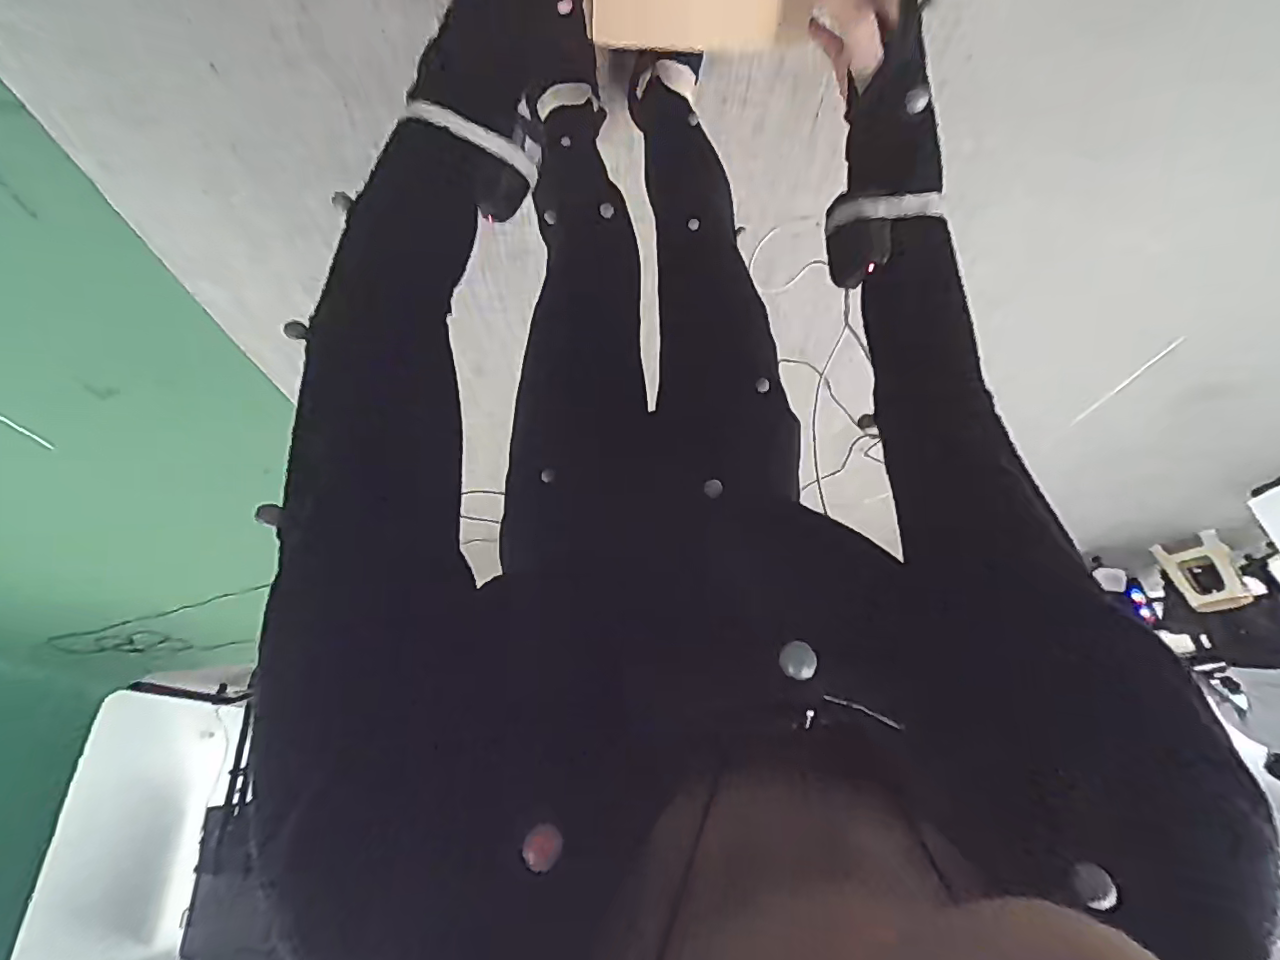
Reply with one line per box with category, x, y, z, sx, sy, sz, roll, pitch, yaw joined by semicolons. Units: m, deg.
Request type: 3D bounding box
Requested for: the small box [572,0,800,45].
small box;0.038;-0.462;0.390;0.179;0.176;0.168;-2;157;-8
